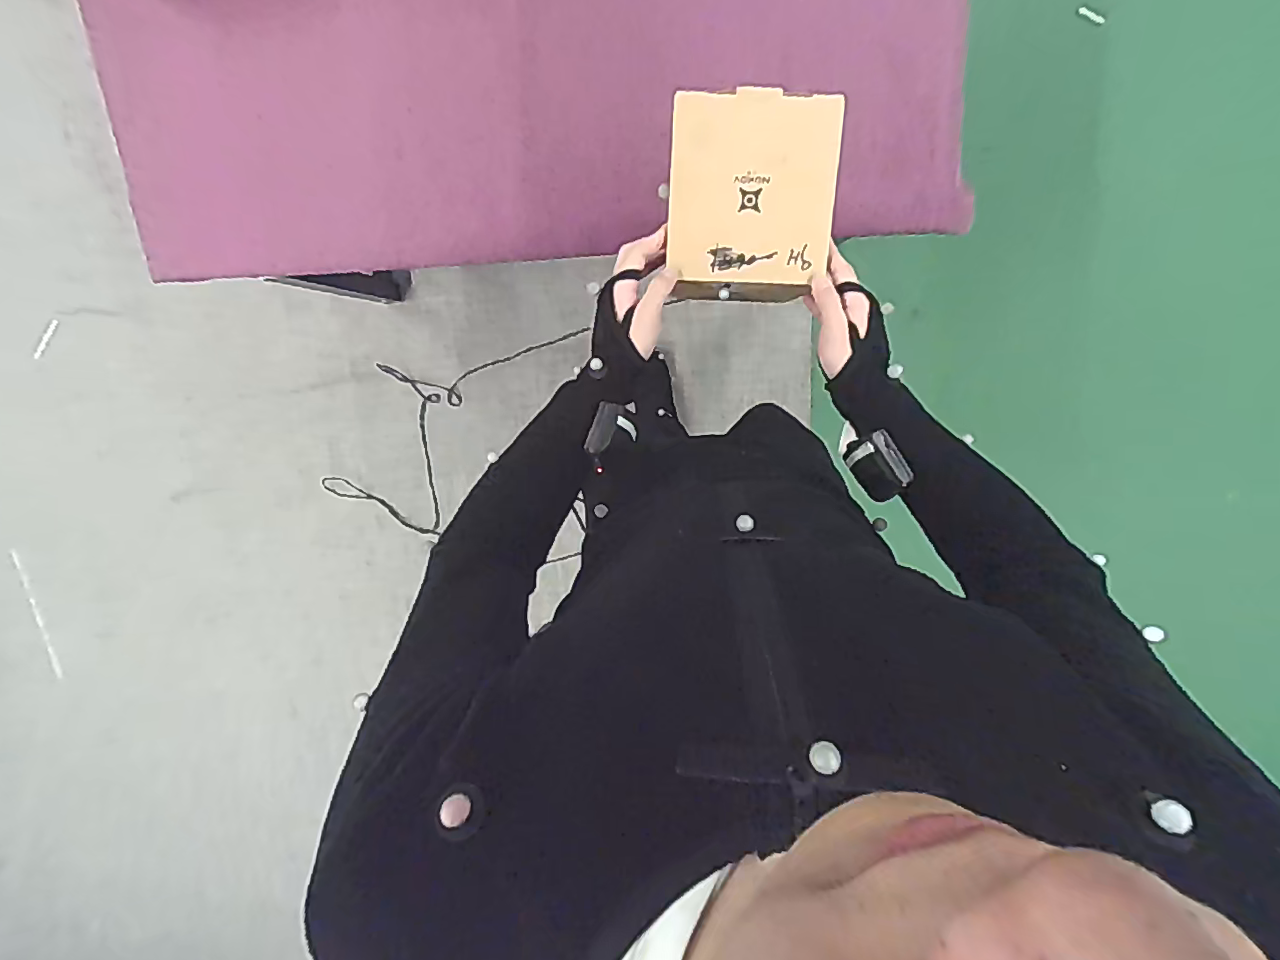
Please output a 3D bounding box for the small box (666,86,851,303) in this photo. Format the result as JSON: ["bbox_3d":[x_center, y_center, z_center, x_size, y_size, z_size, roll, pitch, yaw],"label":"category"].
[{"bbox_3d":[0.118,-0.303,0.609,0.168,0.176,0.179,4,103,2],"label":"small box"}]
